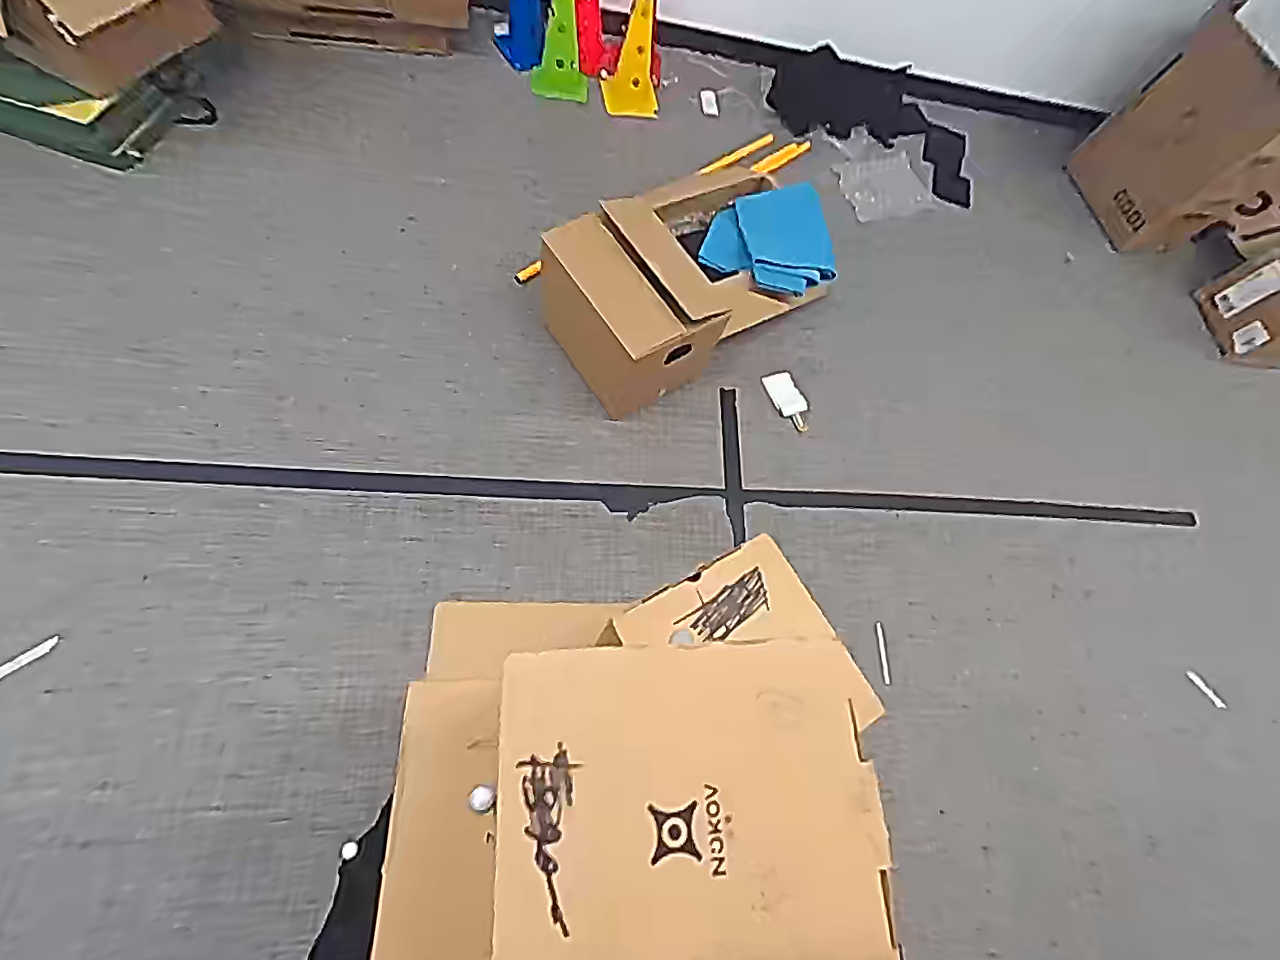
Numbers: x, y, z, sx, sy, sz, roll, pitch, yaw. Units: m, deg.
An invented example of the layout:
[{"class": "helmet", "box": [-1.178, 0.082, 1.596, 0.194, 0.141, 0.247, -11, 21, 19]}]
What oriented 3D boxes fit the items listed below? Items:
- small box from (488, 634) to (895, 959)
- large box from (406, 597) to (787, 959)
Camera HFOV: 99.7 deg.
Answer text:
[{"class": "small box", "box": [0.011, 0.184, 0.316, 0.179, 0.176, 0.168, 0, 67, -8]}, {"class": "large box", "box": [-0.042, 0.336, 0.691, 0.408, 0.320, 0.320, 1, 68, -9]}]
